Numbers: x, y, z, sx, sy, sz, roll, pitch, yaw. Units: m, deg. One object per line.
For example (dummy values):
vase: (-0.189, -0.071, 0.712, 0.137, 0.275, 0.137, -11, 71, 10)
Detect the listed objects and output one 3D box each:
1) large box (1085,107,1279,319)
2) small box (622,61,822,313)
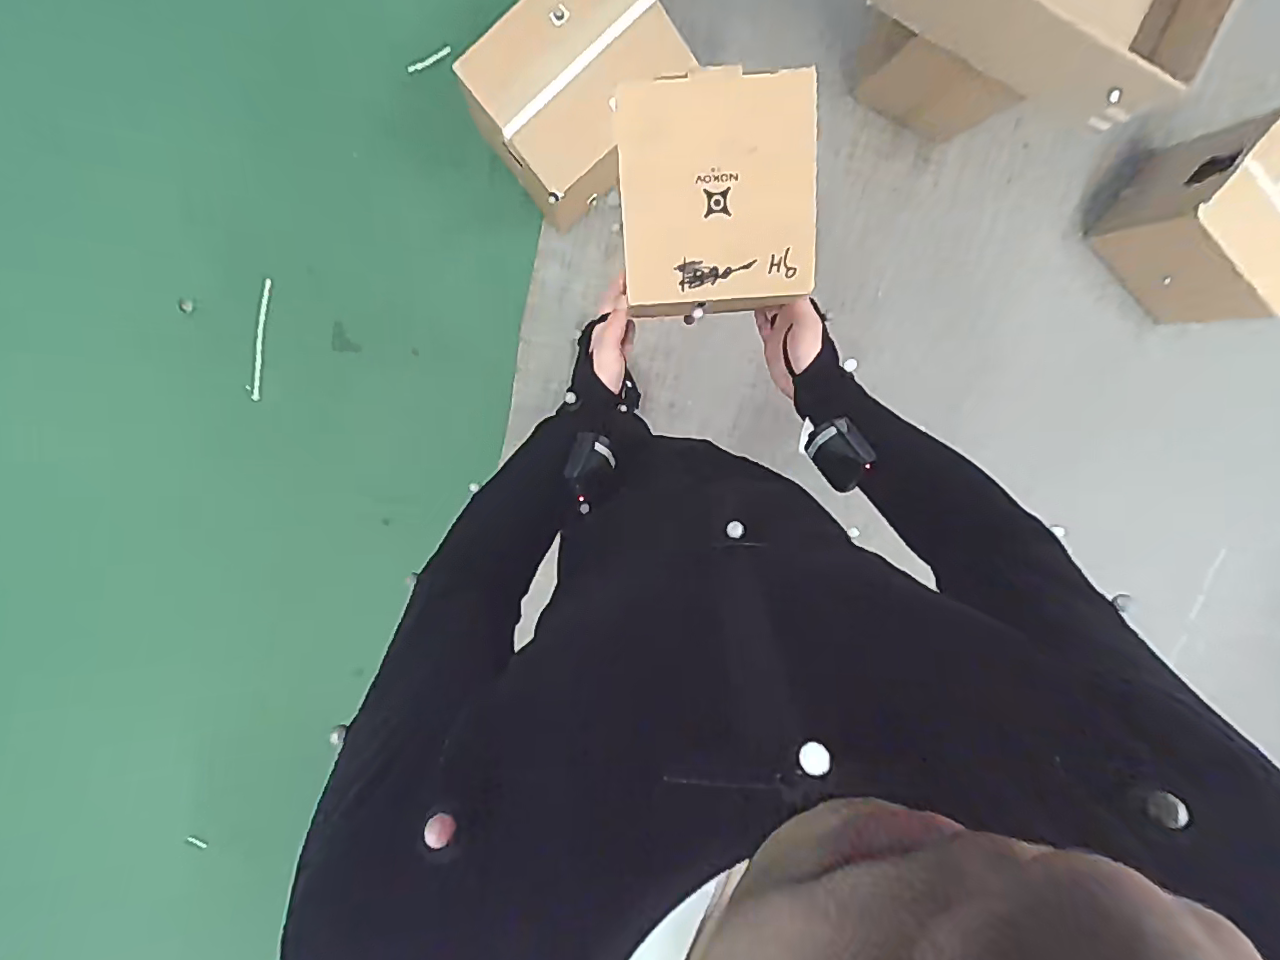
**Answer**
large box: (1.574, -0.691, 1.483, 0.408, 0.320, 0.320, 36, 96, -12)
small box: (0.068, -0.265, 0.529, 0.168, 0.176, 0.179, -4, 103, 0)
